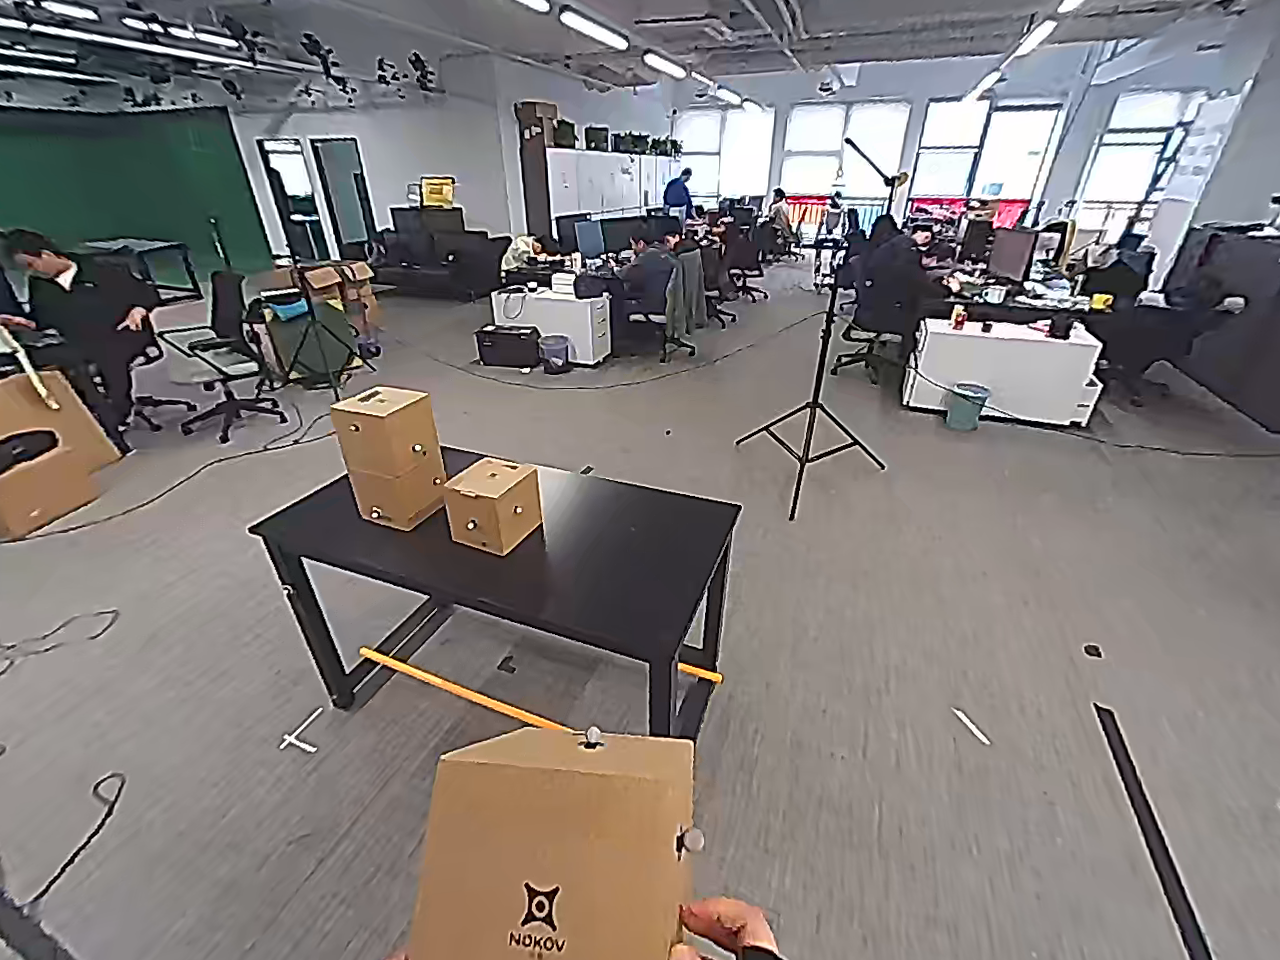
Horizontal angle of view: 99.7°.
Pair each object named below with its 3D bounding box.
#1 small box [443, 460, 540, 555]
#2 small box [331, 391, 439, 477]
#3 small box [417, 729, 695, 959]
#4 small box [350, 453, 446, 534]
[{"bbox_3d":[-0.375,0.070,1.401,0.168,0.176,0.179,12,32,21],"label":"small box"},{"bbox_3d":[-0.656,-0.121,1.411,0.179,0.176,0.168,10,31,18],"label":"small box"},{"bbox_3d":[-0.046,0.296,0.415,0.168,0.176,0.179,-1,71,9],"label":"small box"},{"bbox_3d":[-0.655,0.022,1.492,0.168,0.176,0.179,10,32,19],"label":"small box"}]
